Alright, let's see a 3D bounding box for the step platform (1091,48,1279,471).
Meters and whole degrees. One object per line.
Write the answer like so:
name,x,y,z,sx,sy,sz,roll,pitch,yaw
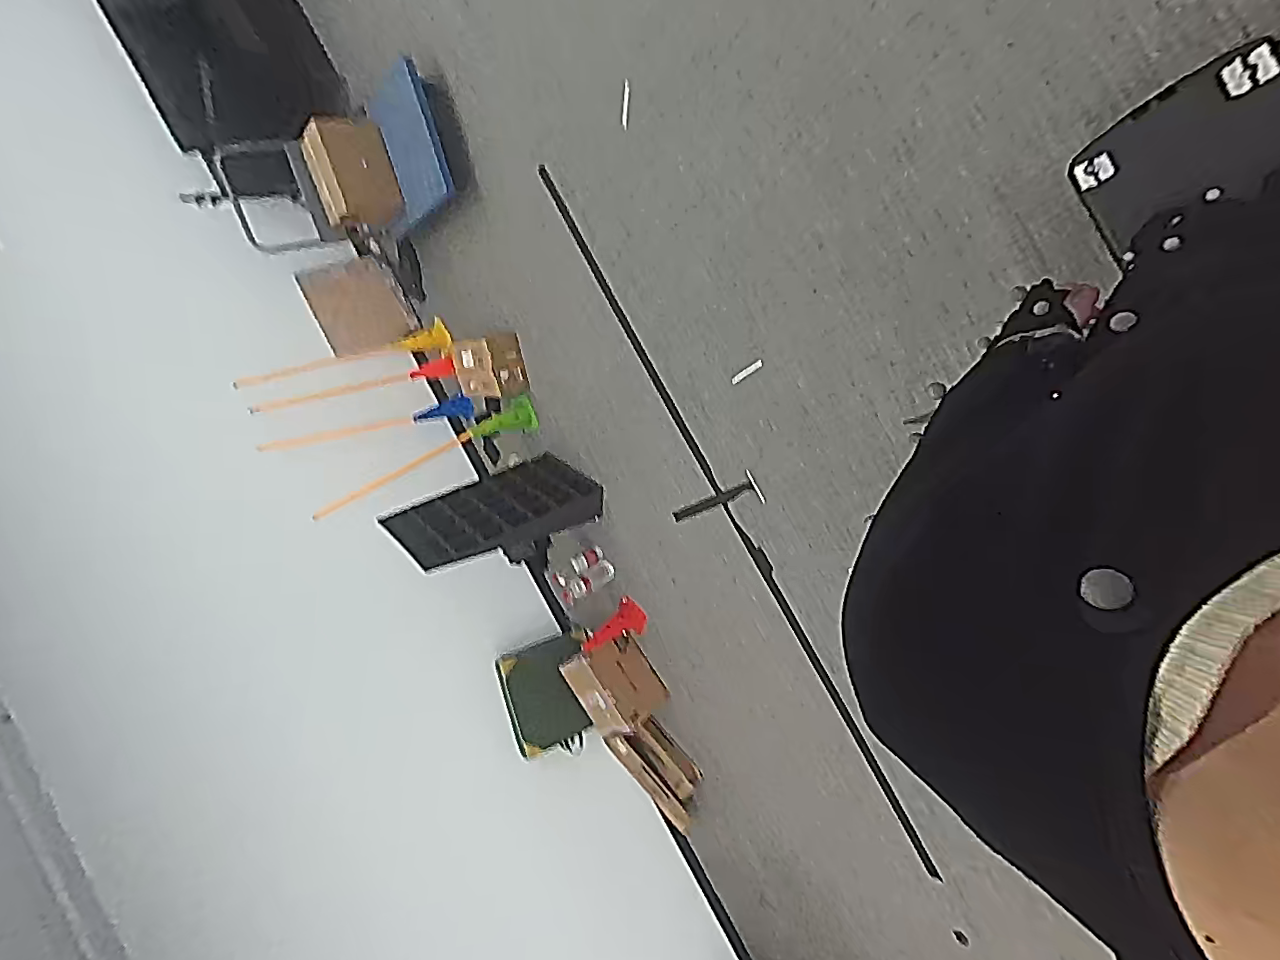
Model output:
step platform,1.087,-0.358,0.947,0.286,0.204,0.684,-23,91,52
